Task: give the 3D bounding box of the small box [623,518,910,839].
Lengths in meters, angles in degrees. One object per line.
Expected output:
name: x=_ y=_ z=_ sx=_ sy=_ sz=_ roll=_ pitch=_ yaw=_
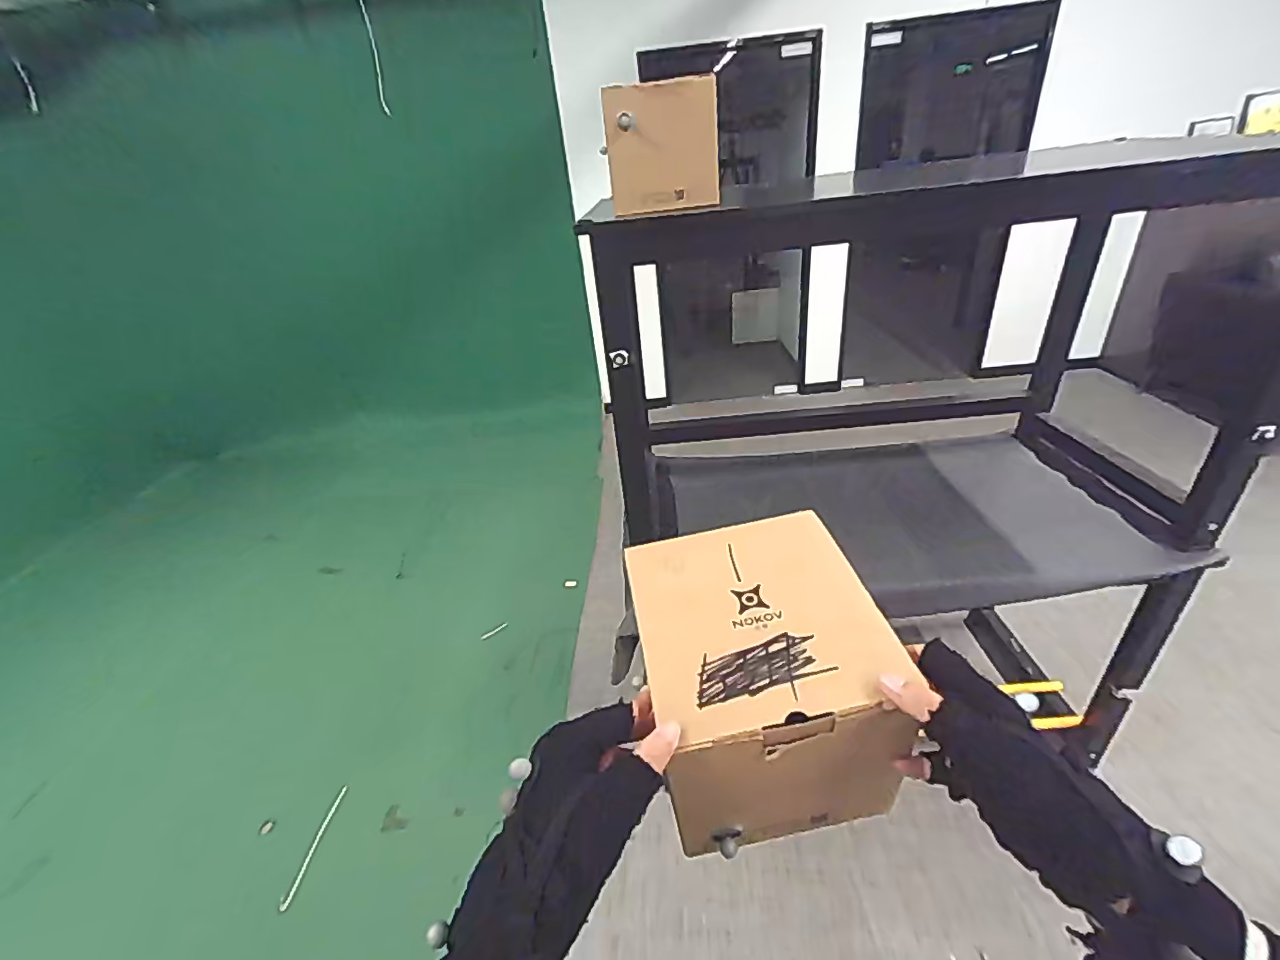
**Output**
small box: x=0.088 y=0.161 z=0.440 sx=0.168 sy=0.176 sz=0.179 roll=-11 pitch=36 yaw=-2
